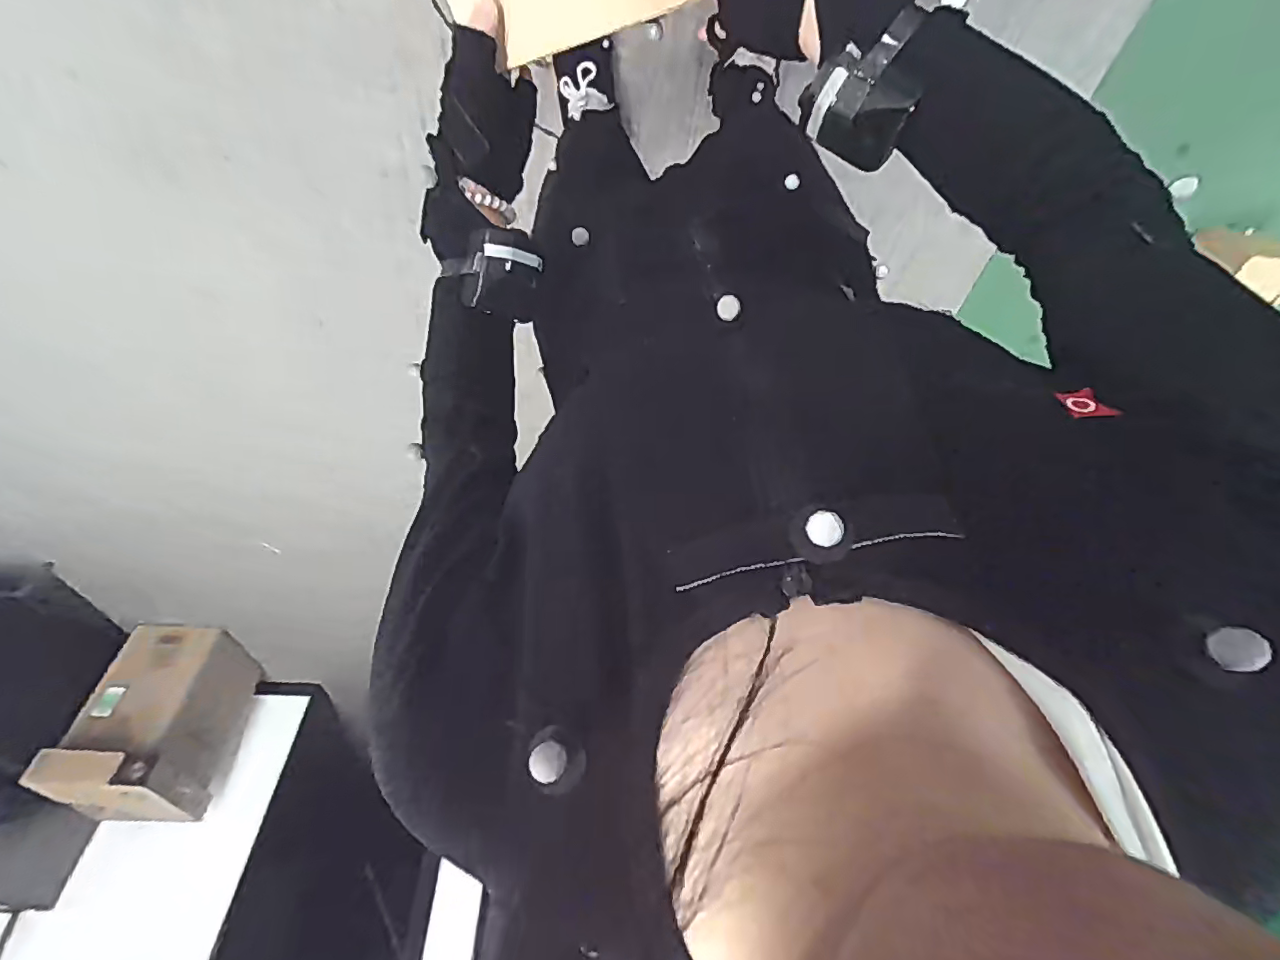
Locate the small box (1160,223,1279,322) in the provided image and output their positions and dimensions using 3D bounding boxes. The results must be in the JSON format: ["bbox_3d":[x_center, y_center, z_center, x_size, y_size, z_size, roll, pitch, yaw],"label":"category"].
[{"bbox_3d":[1.462,-0.513,1.329,0.179,0.176,0.168,4,138,-4],"label":"small box"}]

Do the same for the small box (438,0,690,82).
[{"bbox_3d":[-0.058,-0.421,0.395,0.179,0.176,0.168,-8,131,15],"label":"small box"}]
